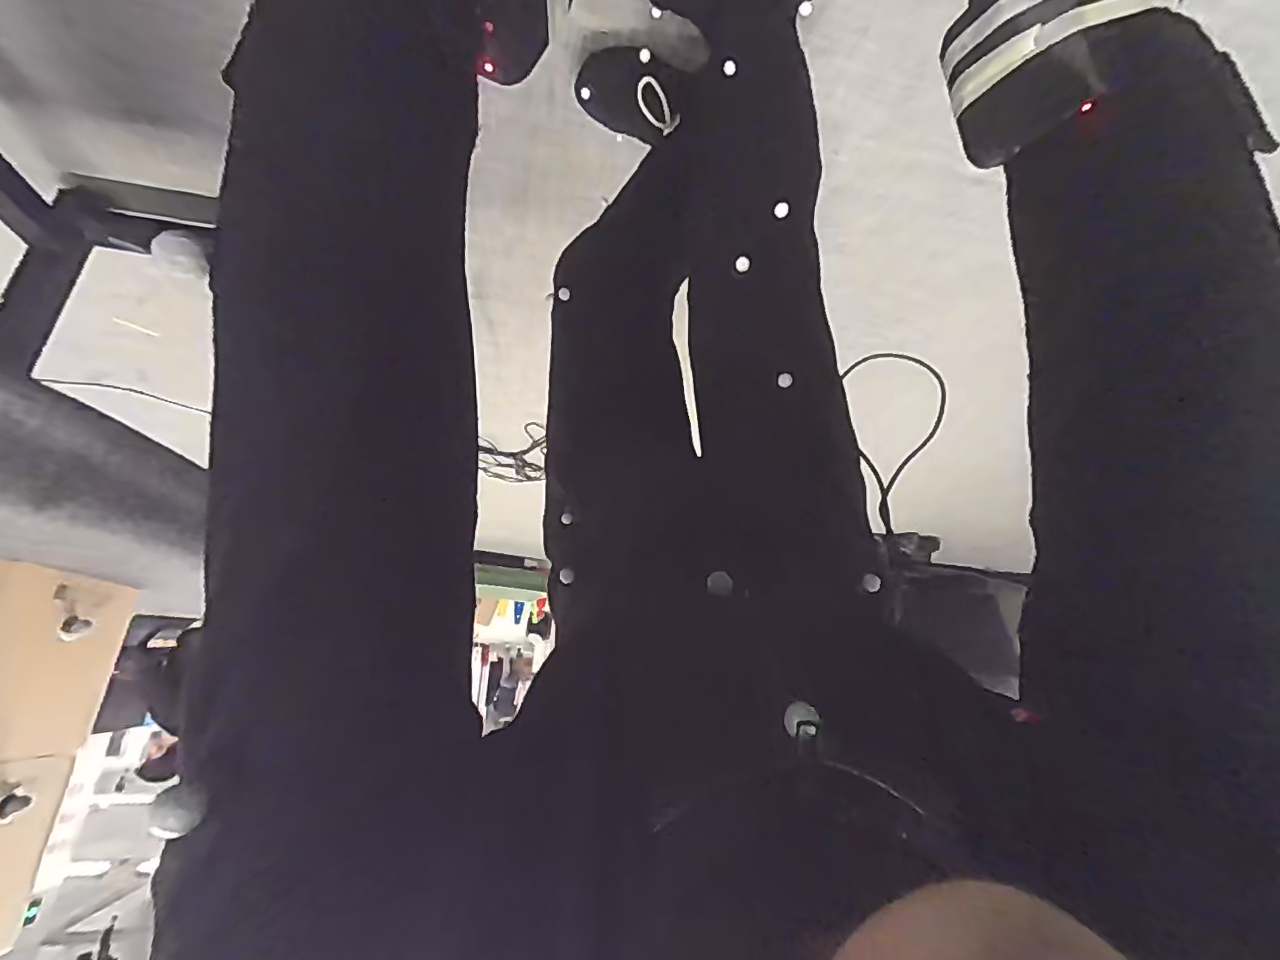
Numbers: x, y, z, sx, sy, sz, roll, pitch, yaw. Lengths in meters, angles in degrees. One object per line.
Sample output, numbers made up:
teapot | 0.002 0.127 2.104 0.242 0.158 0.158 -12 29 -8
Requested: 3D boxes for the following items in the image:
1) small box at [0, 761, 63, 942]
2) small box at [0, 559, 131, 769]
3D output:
small box | -0.632 0.314 0.419 0.179 0.176 0.168 4 159 -9
small box | -0.629 0.165 0.484 0.179 0.176 0.168 4 158 -9
